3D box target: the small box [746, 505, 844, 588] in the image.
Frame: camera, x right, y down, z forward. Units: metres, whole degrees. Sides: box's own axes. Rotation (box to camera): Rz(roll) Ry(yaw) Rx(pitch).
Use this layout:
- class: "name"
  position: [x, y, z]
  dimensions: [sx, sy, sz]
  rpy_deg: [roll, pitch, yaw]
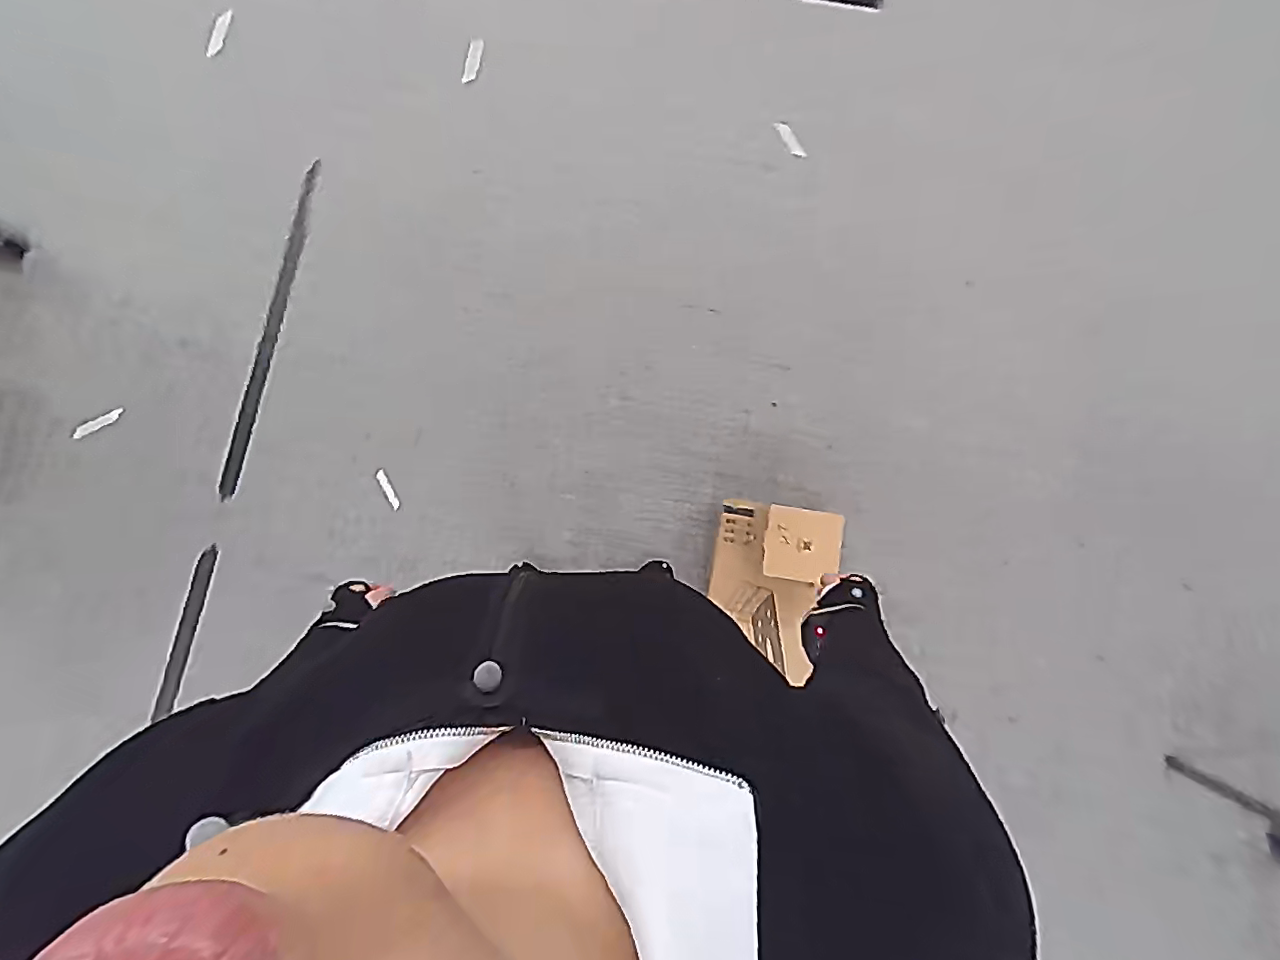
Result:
- class: "small box"
  position: [0.370, 0.159, 1.317]
  dimensions: [0.179, 0.176, 0.168]
  rpy_deg: [10, 83, 1]
